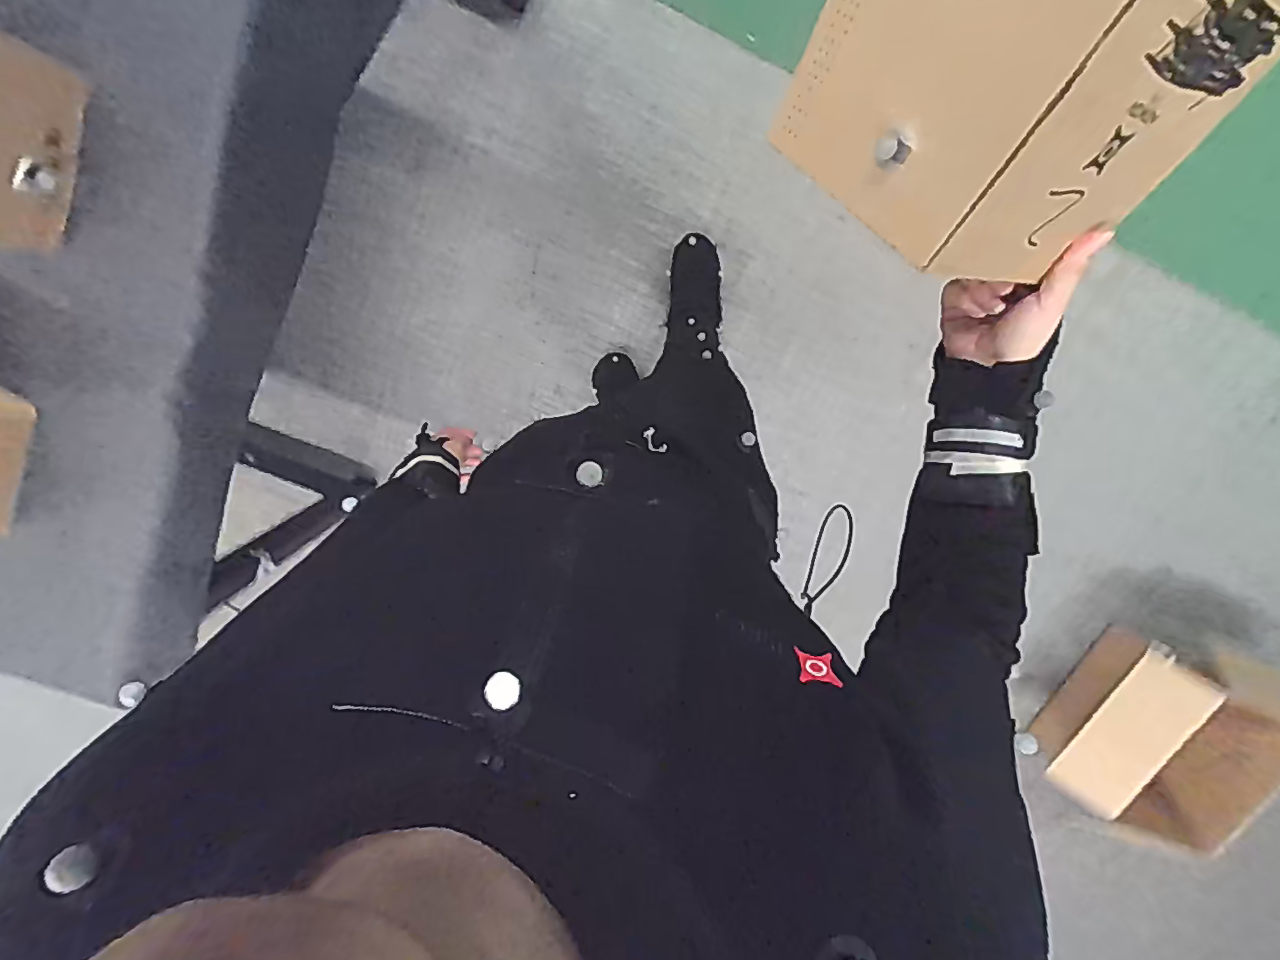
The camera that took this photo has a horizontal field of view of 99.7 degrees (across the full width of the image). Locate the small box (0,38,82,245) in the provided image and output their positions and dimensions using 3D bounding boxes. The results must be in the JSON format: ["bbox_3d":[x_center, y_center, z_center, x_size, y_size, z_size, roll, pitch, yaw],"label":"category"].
[{"bbox_3d":[-0.610,-0.299,0.417,0.179,0.176,0.168,23,106,-8],"label":"small box"}]

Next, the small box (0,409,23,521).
[{"bbox_3d":[-0.749,-0.014,0.497,0.168,0.176,0.179,27,104,-9],"label":"small box"}]
